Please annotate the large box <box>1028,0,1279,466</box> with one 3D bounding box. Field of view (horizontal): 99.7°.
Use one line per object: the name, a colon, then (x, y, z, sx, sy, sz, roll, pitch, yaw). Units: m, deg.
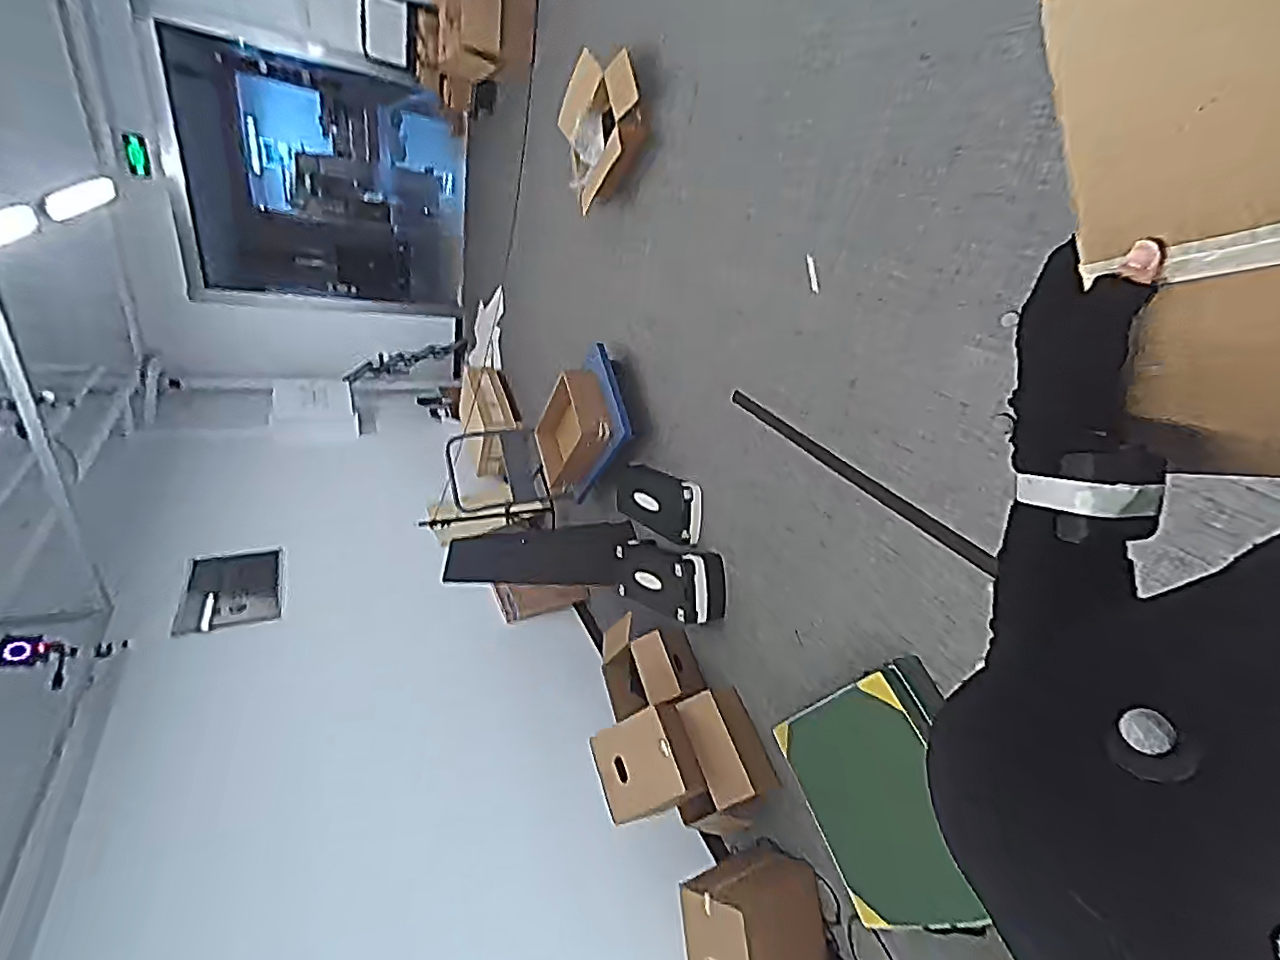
large box: (0.503, -0.219, 0.261, 0.408, 0.320, 0.320, 4, 132, 55)
